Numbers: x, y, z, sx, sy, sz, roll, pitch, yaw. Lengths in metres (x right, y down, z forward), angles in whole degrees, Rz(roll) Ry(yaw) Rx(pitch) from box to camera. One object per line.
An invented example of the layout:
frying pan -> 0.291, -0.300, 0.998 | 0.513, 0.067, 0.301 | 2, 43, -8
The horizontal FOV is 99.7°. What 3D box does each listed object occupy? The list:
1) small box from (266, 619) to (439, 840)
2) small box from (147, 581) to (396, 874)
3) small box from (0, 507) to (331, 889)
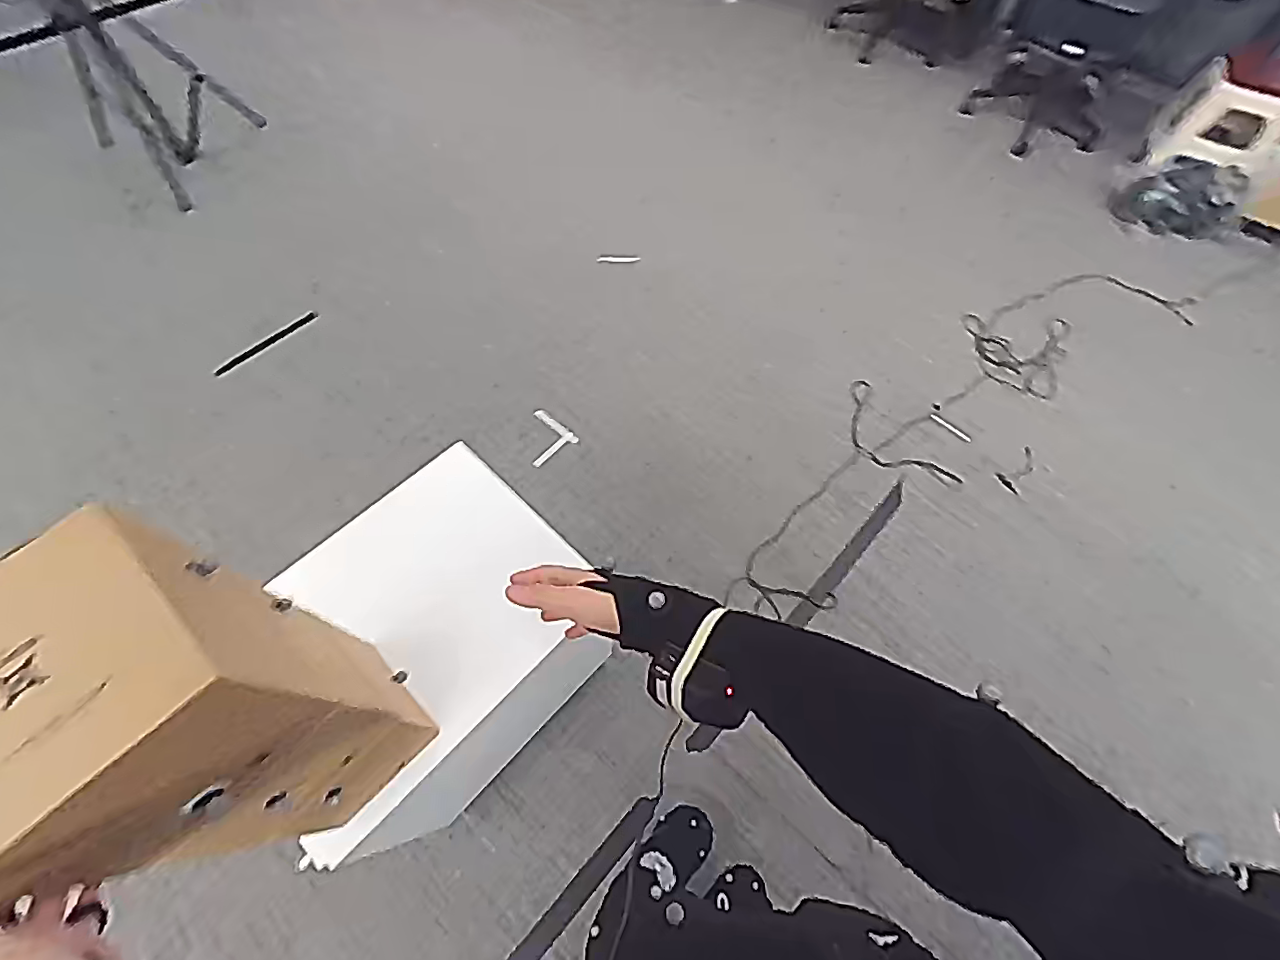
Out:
small box -> -0.389, 0.311, 0.681 | 0.179, 0.176, 0.168 | 40, 67, 18
small box -> -0.381, 0.235, 0.537 | 0.179, 0.176, 0.168 | 39, 67, 17
small box -> -0.375, 0.158, 0.394 | 0.179, 0.176, 0.168 | 40, 68, 16
